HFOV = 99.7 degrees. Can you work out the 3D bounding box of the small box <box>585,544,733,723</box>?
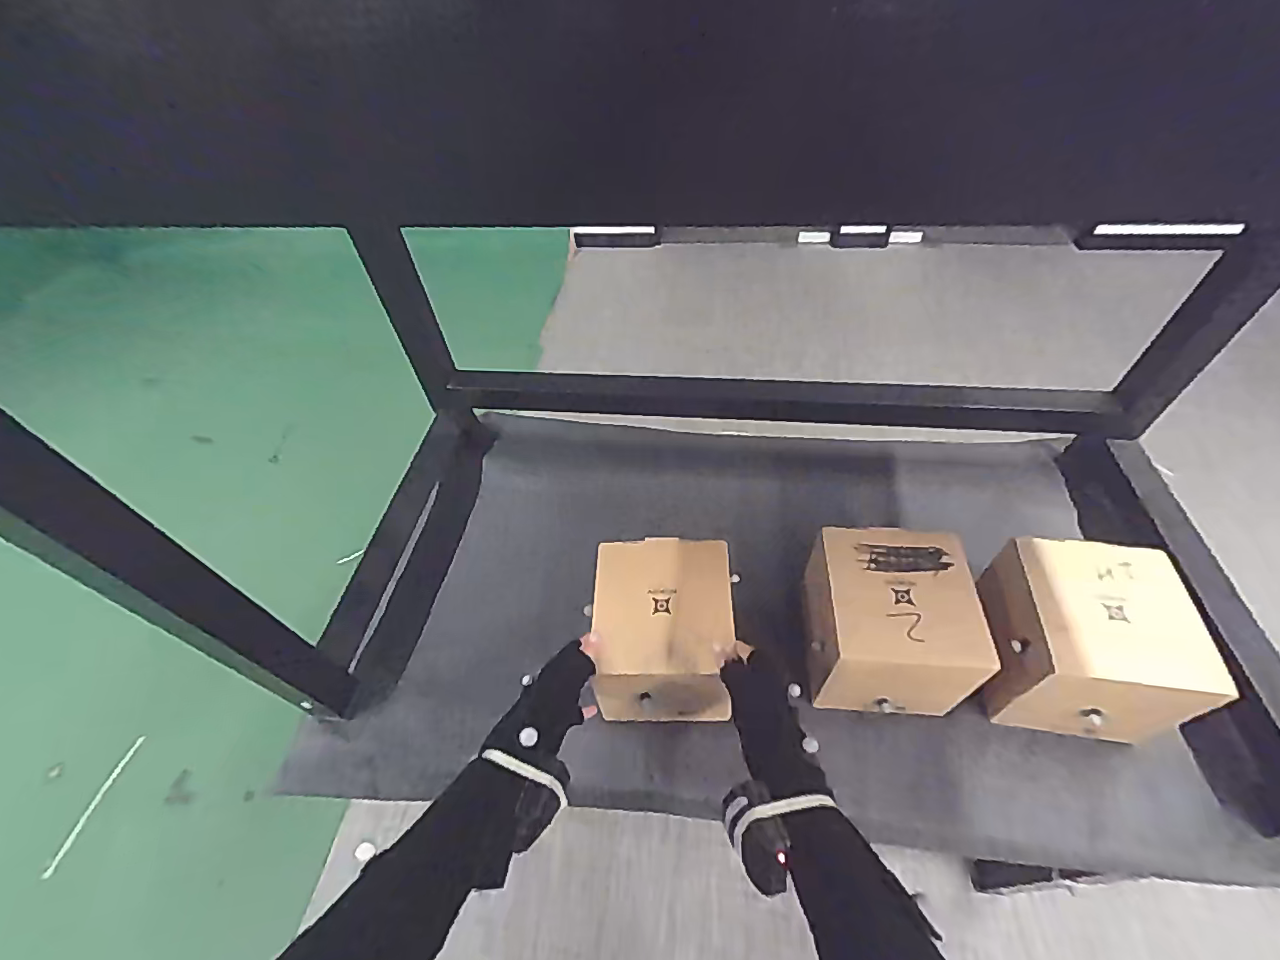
[{"bbox_3d":[0.029,0.202,0.699,0.168,0.176,0.179,-1,48,3],"label":"small box"}]
